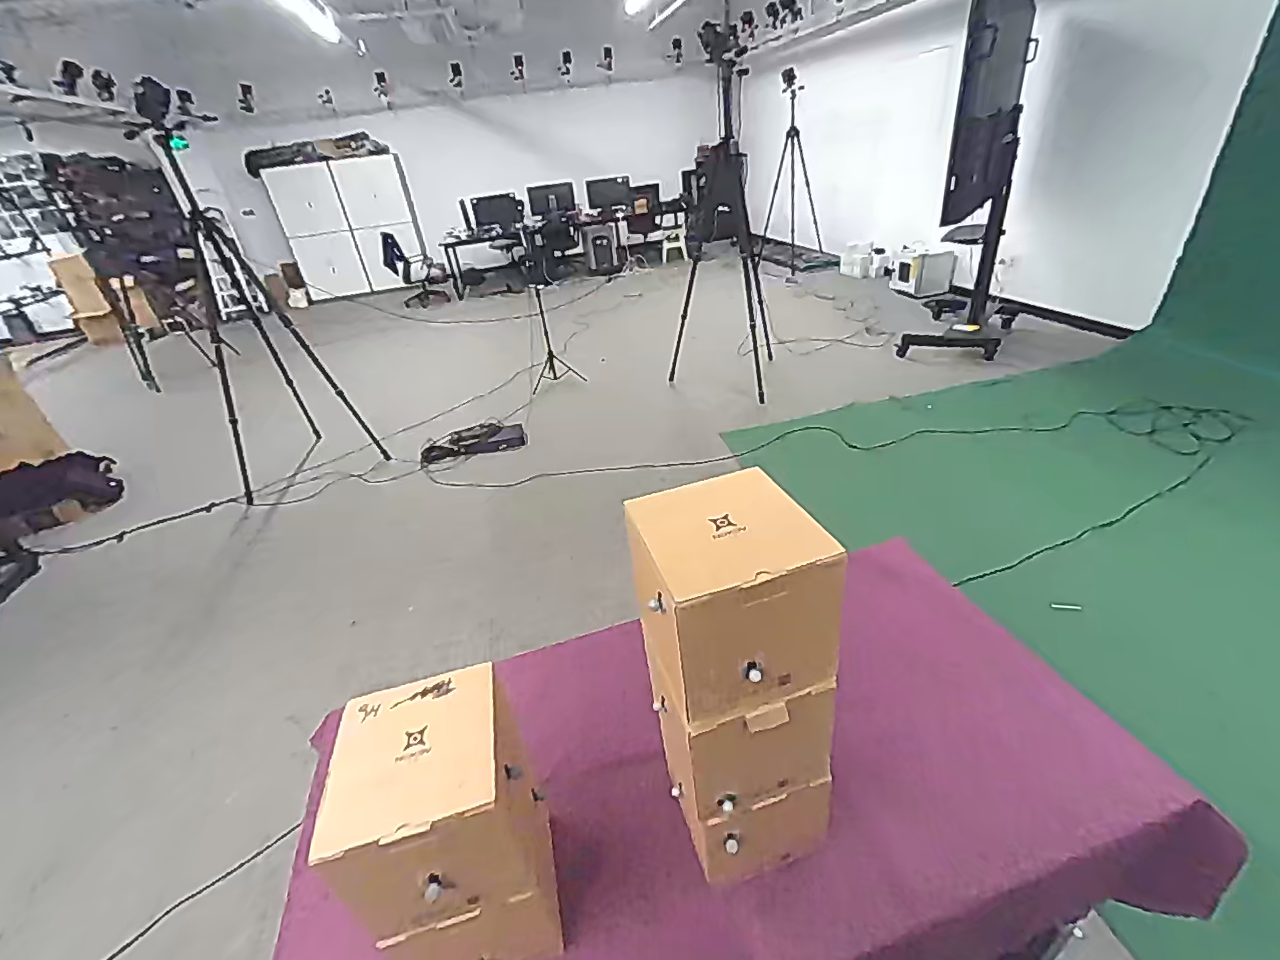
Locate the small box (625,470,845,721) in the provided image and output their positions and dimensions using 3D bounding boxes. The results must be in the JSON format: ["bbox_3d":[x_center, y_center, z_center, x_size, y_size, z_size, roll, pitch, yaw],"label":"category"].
[{"bbox_3d":[0.091,0.115,0.577,0.168,0.176,0.179,-15,32,-11],"label":"small box"}]

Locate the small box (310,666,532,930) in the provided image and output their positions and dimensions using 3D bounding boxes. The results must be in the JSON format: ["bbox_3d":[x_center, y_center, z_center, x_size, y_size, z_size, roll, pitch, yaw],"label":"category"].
[{"bbox_3d":[-0.219,0.344,0.588,0.168,0.176,0.179,-13,32,-10],"label":"small box"}]

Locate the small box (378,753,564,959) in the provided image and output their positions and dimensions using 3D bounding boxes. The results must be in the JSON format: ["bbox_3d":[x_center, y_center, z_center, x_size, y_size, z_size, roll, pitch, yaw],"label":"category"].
[{"bbox_3d":[-0.198,0.486,0.669,0.168,0.176,0.179,-14,31,-9],"label":"small box"}]

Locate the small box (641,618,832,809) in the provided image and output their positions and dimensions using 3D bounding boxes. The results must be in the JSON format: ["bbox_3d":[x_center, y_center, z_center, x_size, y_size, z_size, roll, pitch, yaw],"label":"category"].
[{"bbox_3d":[0.112,0.259,0.652,0.168,0.176,0.179,-15,30,-10],"label":"small box"}]
